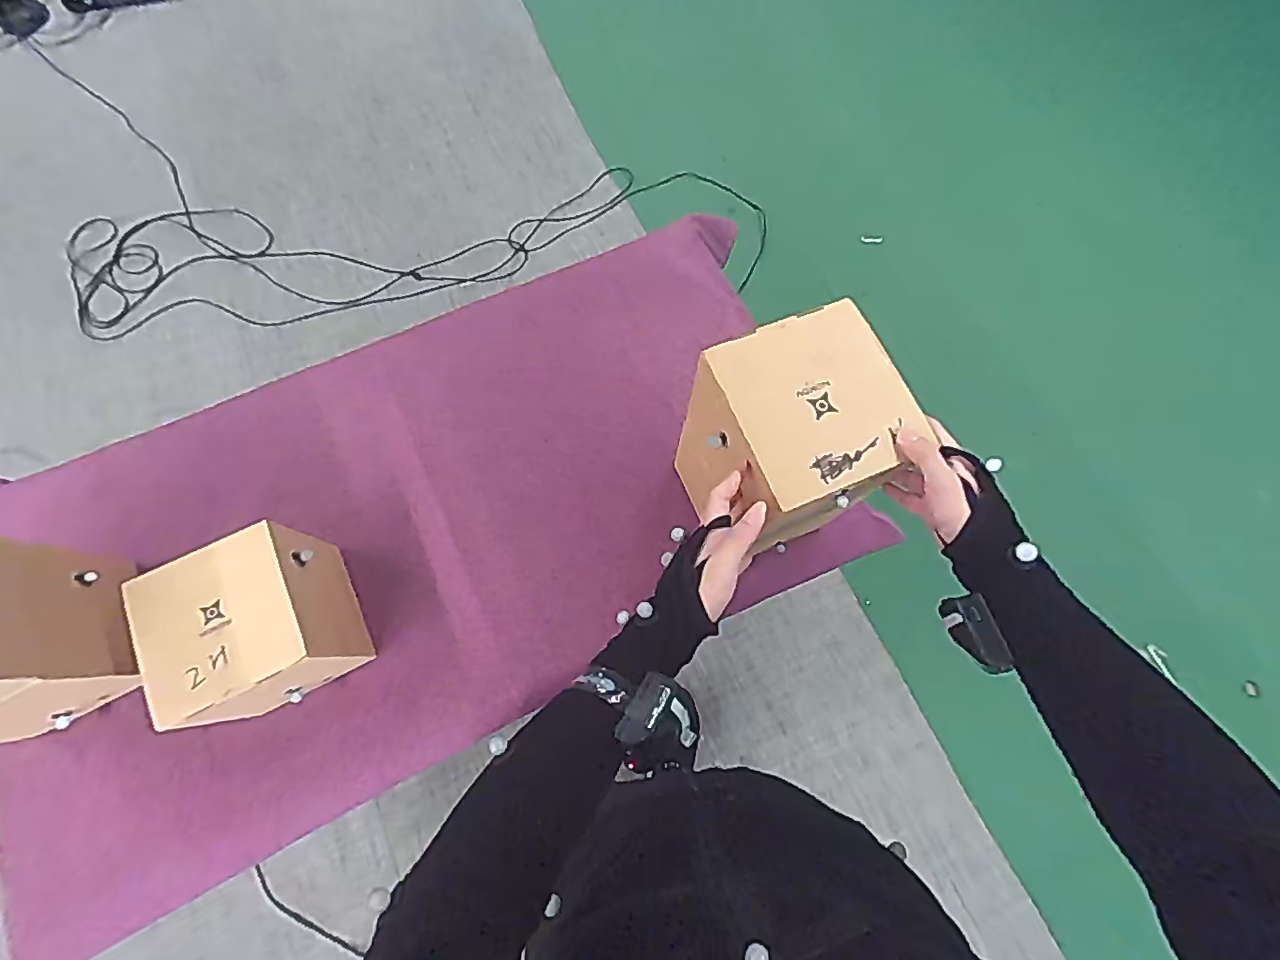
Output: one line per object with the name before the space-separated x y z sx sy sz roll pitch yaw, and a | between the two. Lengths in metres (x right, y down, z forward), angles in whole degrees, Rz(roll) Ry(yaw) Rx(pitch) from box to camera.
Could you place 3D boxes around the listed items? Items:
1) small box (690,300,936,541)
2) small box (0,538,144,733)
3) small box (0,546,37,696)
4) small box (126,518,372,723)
small box | 0.163 -0.053 0.582 0.168 0.176 0.179 -22 75 -6
small box | -0.750 0.196 0.663 0.168 0.176 0.179 -27 76 -8
small box | -0.747 0.146 0.508 0.168 0.176 0.179 -27 76 -8
small box | -0.470 0.174 0.674 0.168 0.176 0.179 -26 75 -8
